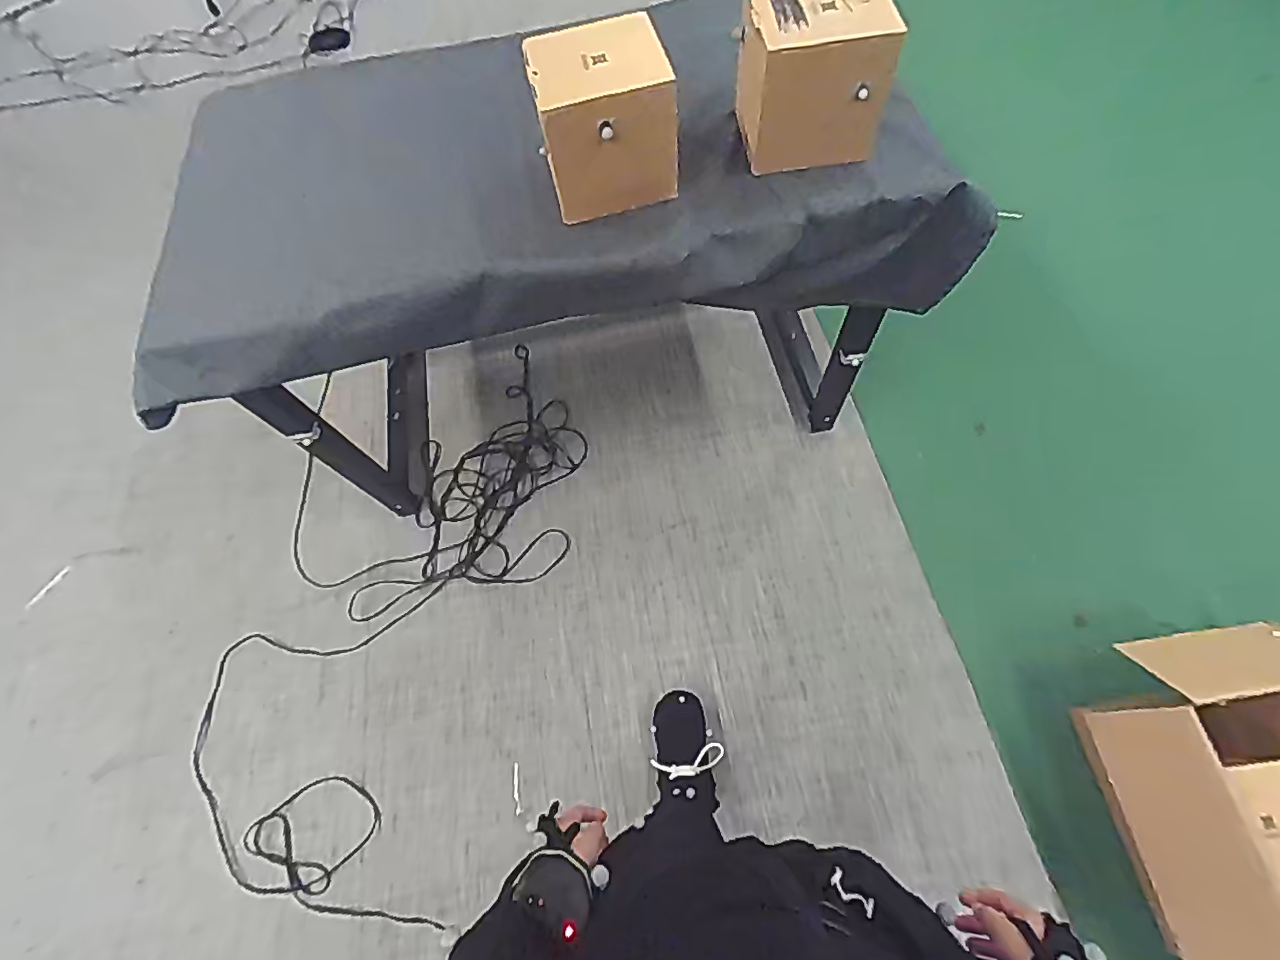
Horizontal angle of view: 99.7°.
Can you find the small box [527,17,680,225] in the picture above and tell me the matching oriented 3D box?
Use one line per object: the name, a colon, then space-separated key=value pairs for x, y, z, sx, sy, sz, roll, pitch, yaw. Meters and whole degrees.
small box: x=-0.046 y=-0.501 z=0.770 sx=0.179 sy=0.176 sz=0.168 roll=-14 pitch=65 yaw=0
